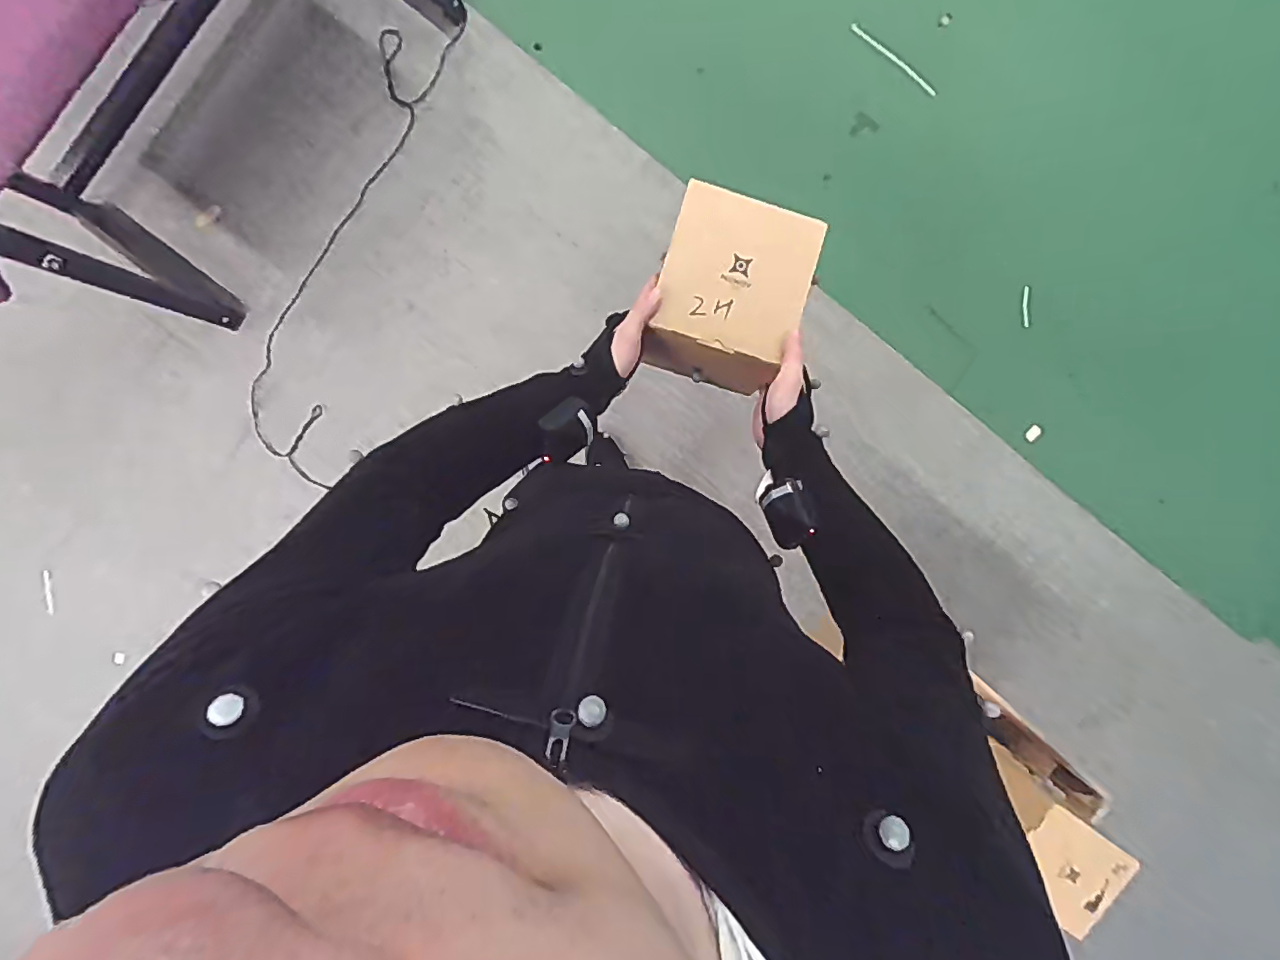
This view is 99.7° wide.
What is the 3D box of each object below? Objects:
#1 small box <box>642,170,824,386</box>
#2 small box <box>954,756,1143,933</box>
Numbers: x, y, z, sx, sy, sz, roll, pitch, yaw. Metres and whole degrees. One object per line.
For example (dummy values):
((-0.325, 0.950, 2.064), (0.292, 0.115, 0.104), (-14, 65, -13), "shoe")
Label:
((0.101, -0.234, 0.672), (0.168, 0.176, 0.179), (17, 89, -1), "small box")
((0.718, 0.638, 0.977), (0.179, 0.176, 0.168), (36, 94, 1), "small box")
